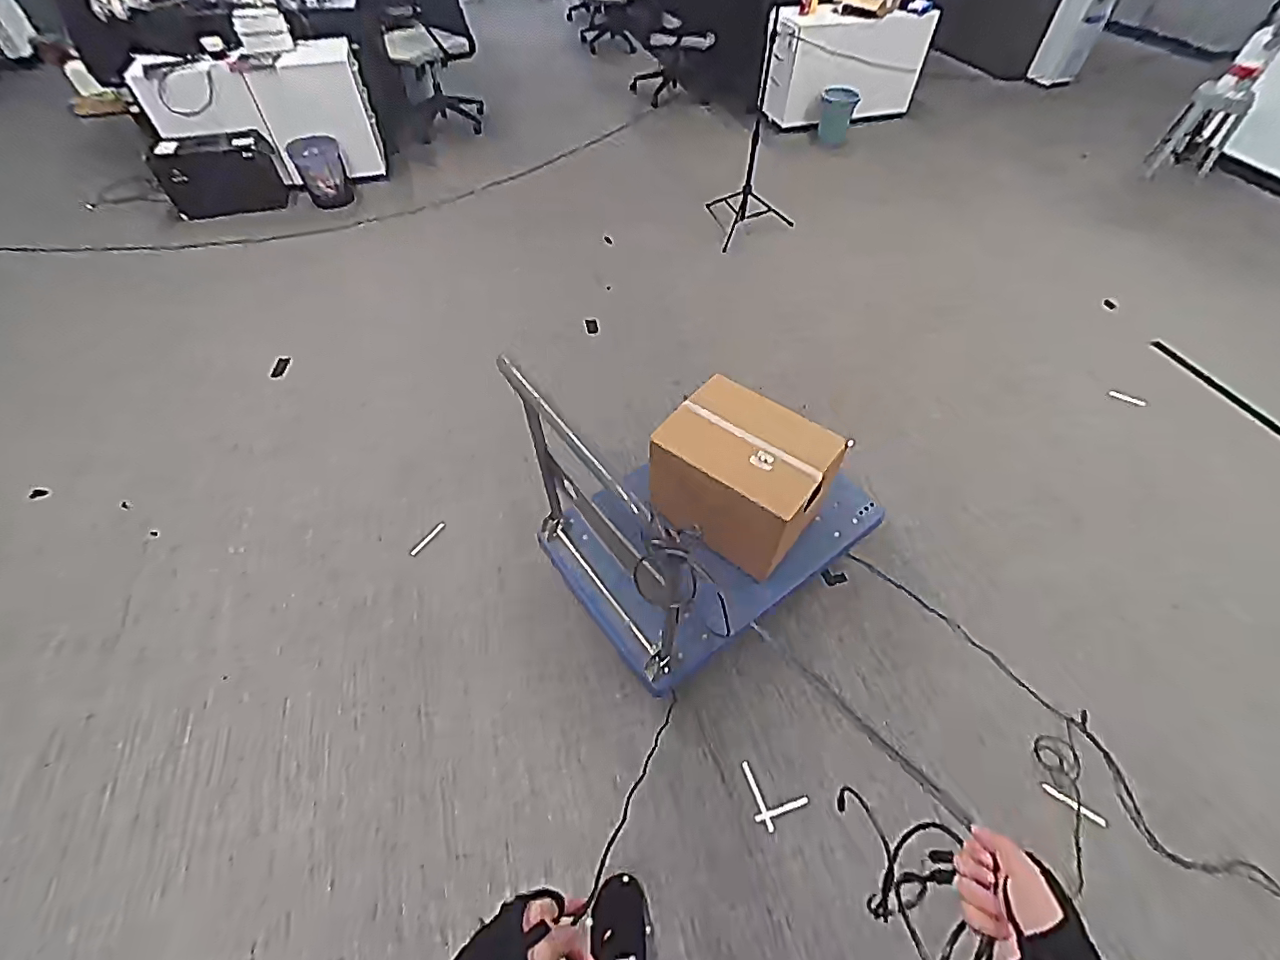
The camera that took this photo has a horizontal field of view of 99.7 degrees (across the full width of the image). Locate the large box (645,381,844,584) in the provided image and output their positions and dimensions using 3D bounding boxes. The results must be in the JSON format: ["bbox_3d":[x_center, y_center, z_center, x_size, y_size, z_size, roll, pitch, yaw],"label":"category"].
[{"bbox_3d":[0.262,0.003,1.471,0.408,0.320,0.320,33,59,22],"label":"large box"}]
